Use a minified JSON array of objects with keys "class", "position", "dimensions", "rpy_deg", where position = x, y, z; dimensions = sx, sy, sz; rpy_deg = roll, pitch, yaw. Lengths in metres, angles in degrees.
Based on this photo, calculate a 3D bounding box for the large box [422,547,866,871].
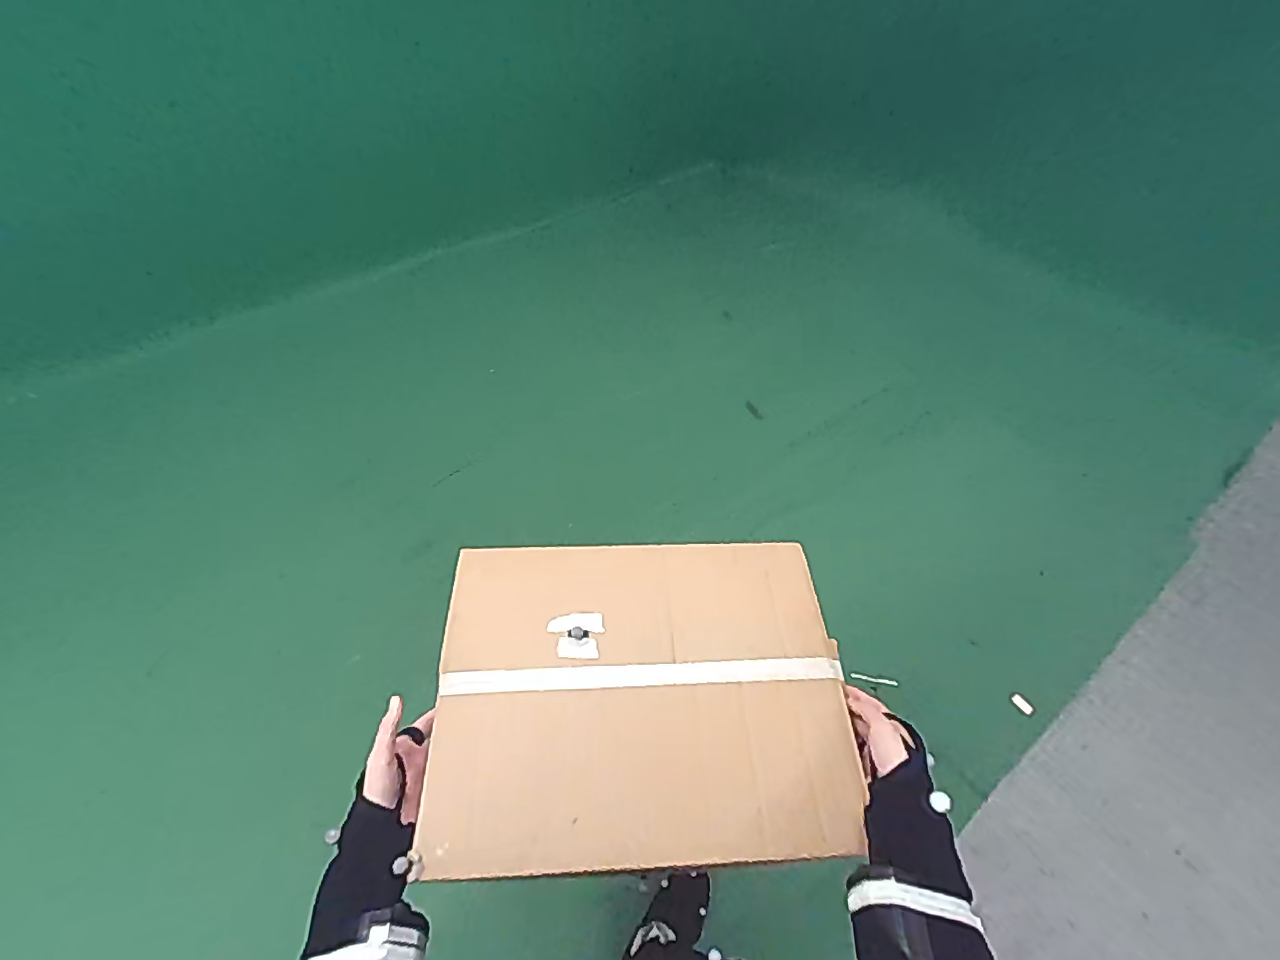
[{"class":"large box","position":[-0.001,0.294,0.684],"dimensions":[0.408,0.320,0.320],"rpy_deg":[0,53,-3]}]
